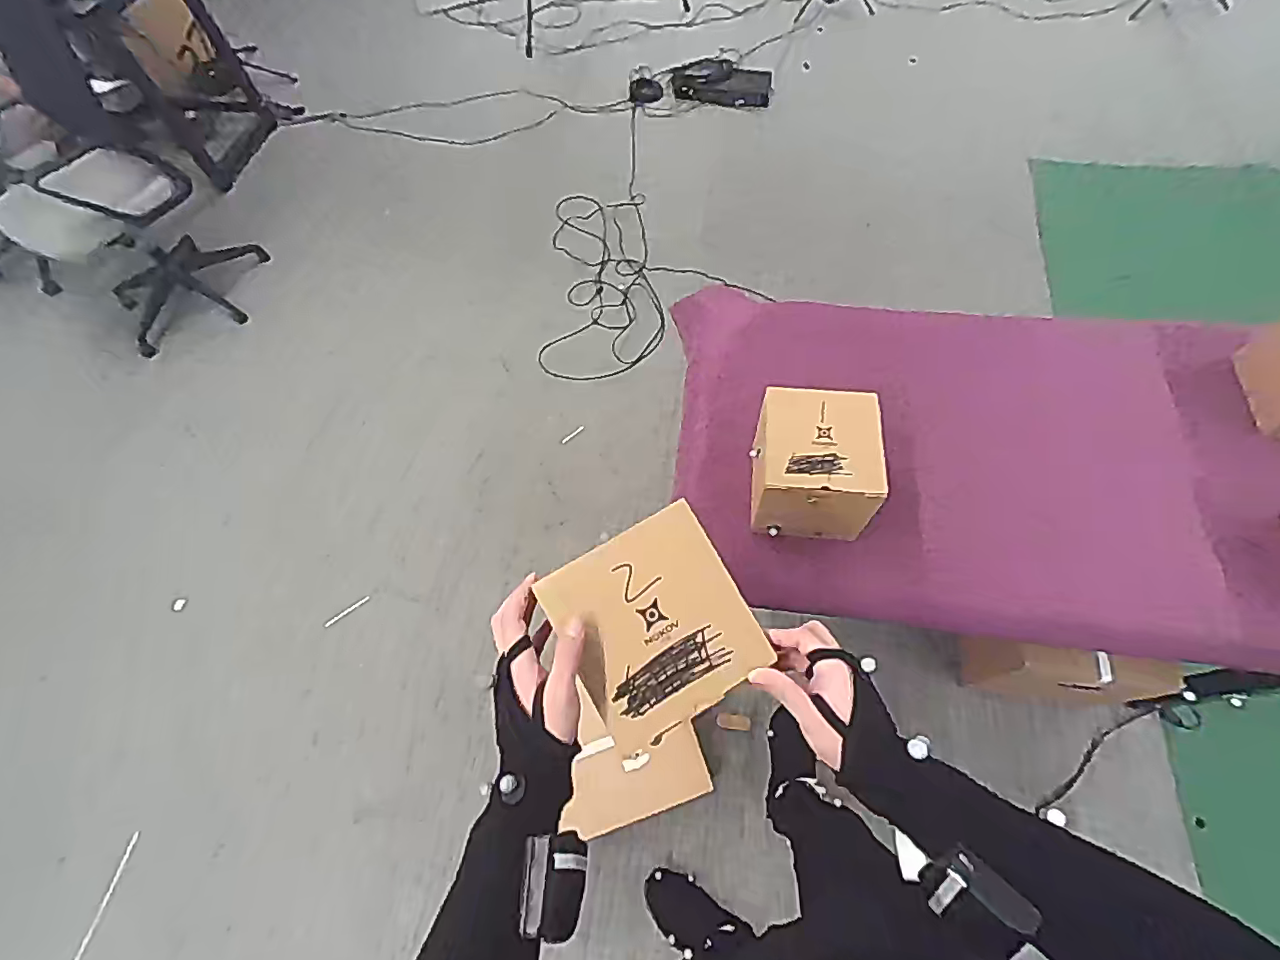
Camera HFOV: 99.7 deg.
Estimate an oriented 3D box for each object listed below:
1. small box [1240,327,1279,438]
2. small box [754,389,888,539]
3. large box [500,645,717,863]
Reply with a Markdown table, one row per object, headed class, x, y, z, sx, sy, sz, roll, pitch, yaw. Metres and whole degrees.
| class | x | y | z | sx | sy | sz | roll | pitch | yaw |
| --- | --- | --- | --- | --- | --- | --- | --- | --- | --- |
| small box | 1.131 | -0.176 | 0.858 | 0.168 | 0.176 | 0.179 | 6 | 63 | 11 |
| small box | 0.272 | -0.019 | 0.849 | 0.168 | 0.176 | 0.179 | 4 | 61 | 7 |
| large box | -0.069 | 0.637 | 1.276 | 0.408 | 0.320 | 0.320 | -18 | 62 | -6 |
